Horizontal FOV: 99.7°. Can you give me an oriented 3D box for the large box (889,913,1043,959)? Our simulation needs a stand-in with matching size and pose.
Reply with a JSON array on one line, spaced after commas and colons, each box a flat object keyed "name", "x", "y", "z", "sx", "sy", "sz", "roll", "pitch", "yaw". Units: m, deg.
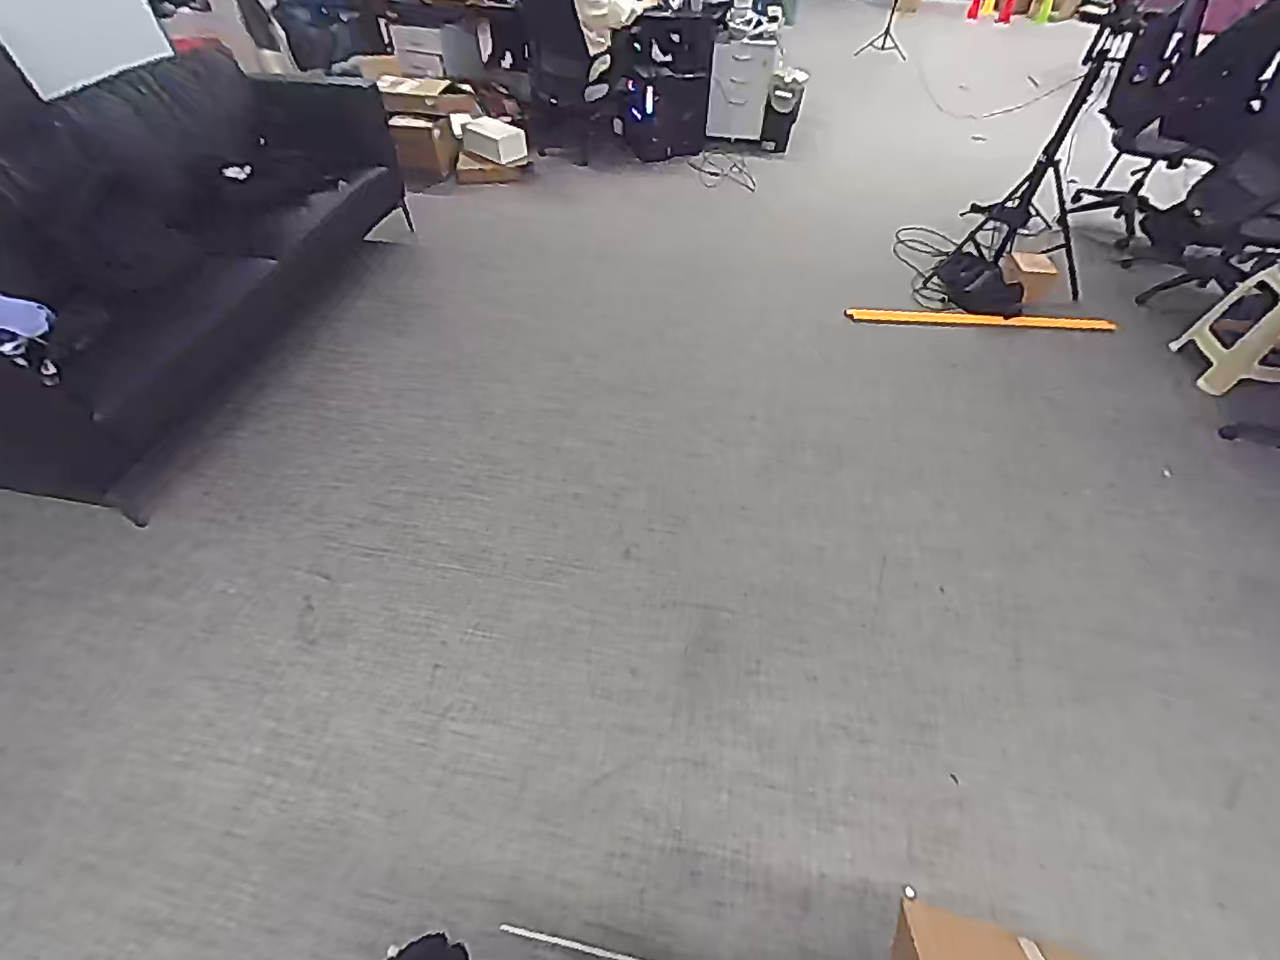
[{"name": "large box", "x": 0.444, "y": 0.794, "z": 0.559, "sx": 0.320, "sy": 0.408, "sz": 0.320, "roll": 12, "pitch": 89, "yaw": 15}]
